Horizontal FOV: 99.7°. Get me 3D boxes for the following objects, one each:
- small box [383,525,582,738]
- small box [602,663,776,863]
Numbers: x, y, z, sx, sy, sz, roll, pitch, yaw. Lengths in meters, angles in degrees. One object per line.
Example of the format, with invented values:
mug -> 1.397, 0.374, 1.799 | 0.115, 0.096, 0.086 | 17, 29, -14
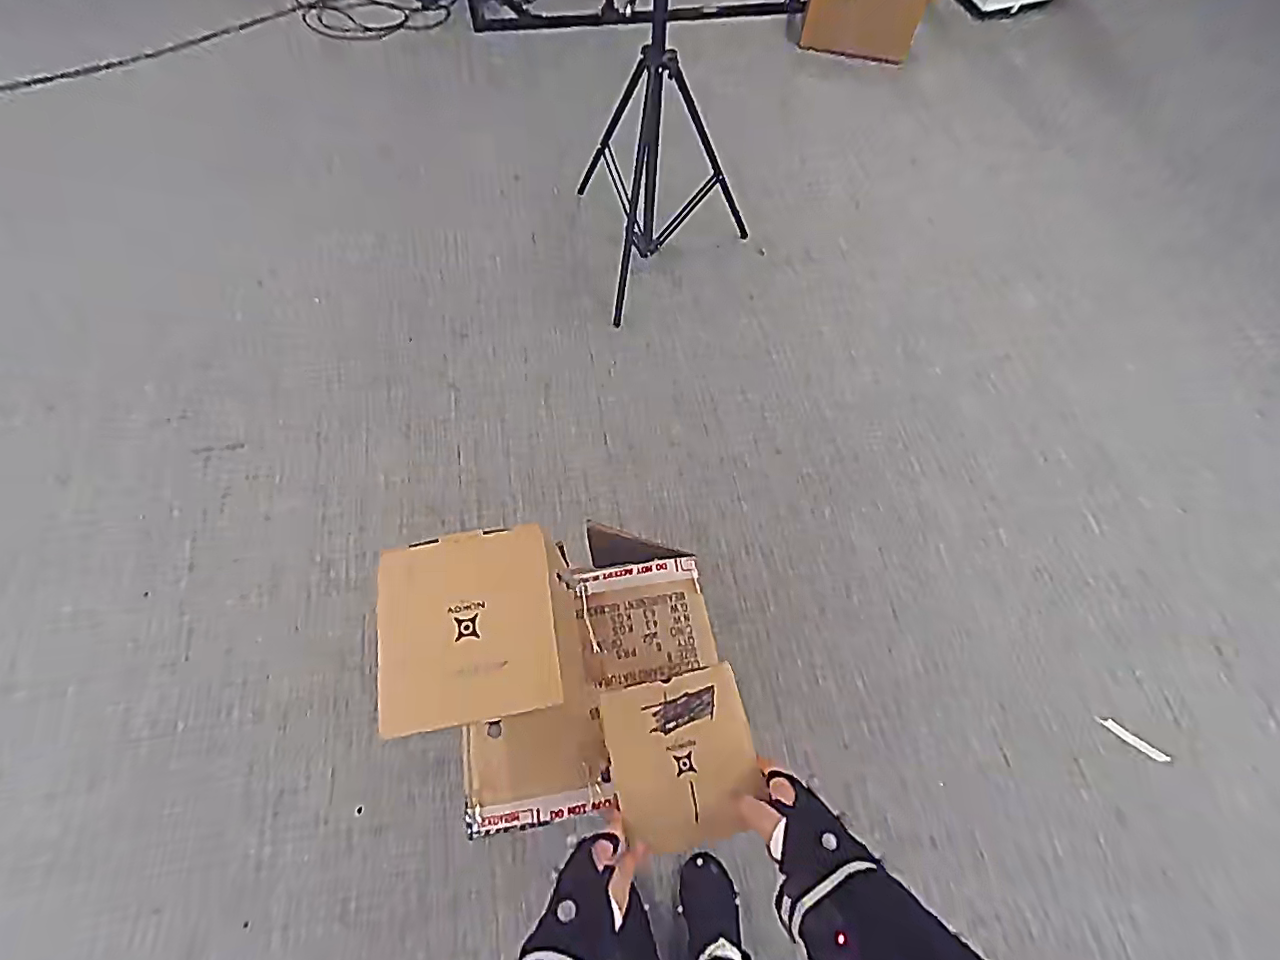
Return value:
small box -> -0.160, 0.166, 0.585 | 0.168, 0.176, 0.179 | -10, 69, -4
small box -> 0.046, 0.349, 0.681 | 0.168, 0.176, 0.179 | -10, 64, -9
